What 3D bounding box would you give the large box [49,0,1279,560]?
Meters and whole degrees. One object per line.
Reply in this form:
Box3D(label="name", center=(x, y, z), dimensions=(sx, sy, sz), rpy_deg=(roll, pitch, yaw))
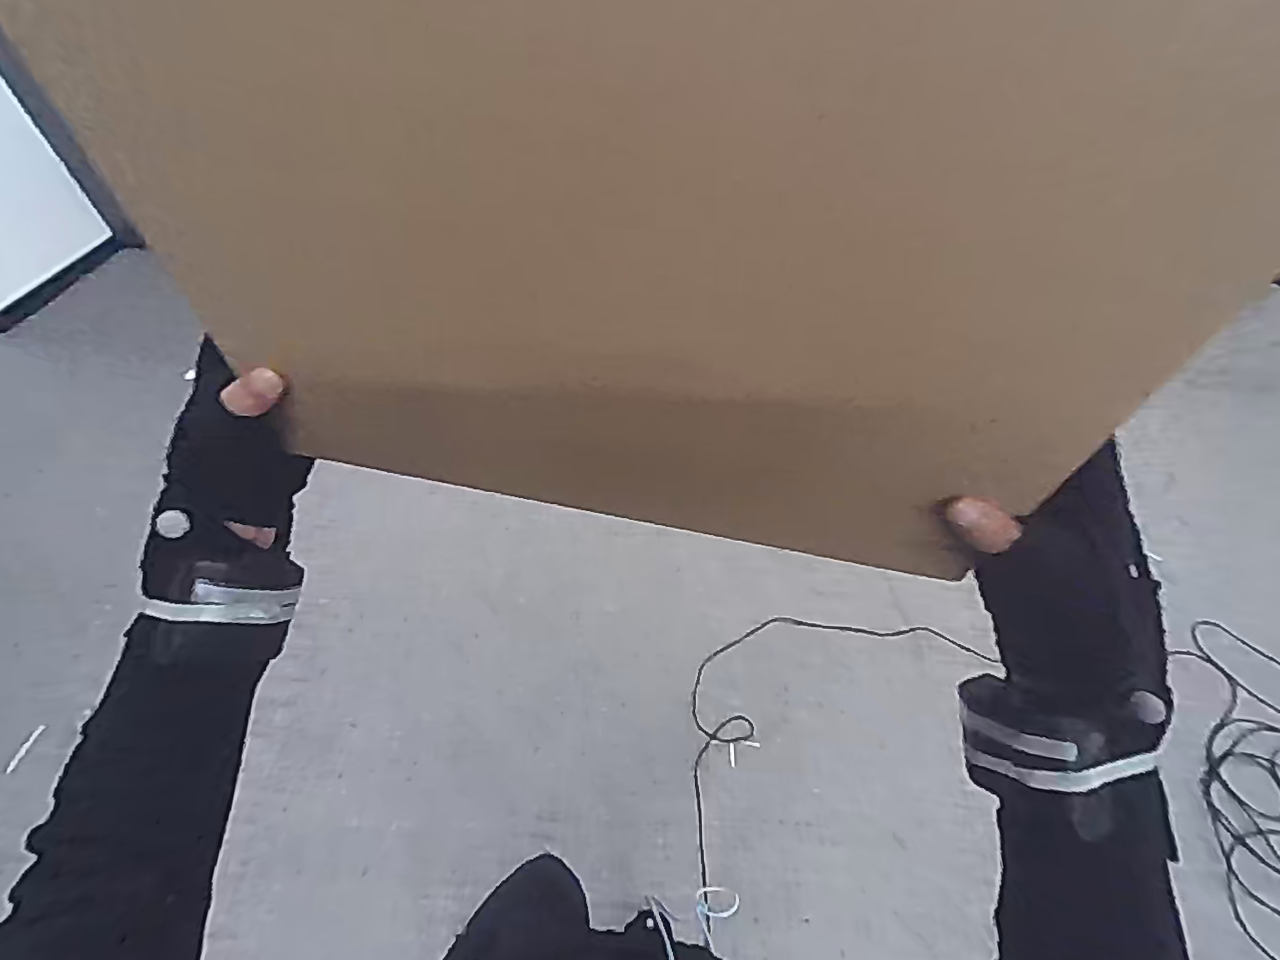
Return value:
Box3D(label="large box", center=(0.023, -0.191, 0.302), dimensions=(0.408, 0.320, 0.320), rpy_deg=(11, 51, 3))
